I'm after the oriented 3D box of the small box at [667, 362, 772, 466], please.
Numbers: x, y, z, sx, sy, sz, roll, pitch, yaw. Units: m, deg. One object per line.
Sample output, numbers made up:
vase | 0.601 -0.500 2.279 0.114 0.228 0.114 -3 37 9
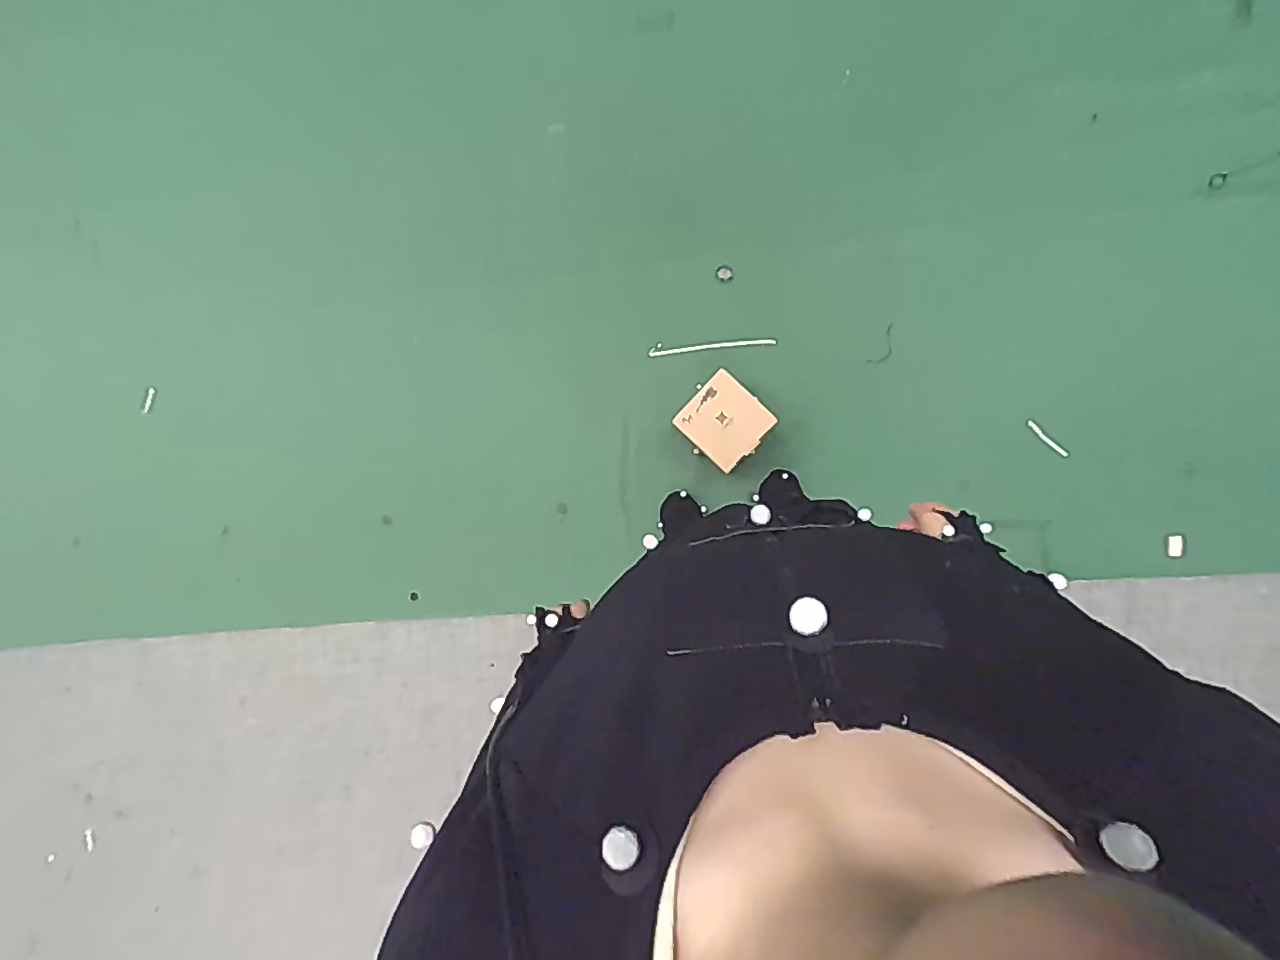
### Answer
small box | 0.184 -0.153 1.276 0.179 0.176 0.168 44 96 2
